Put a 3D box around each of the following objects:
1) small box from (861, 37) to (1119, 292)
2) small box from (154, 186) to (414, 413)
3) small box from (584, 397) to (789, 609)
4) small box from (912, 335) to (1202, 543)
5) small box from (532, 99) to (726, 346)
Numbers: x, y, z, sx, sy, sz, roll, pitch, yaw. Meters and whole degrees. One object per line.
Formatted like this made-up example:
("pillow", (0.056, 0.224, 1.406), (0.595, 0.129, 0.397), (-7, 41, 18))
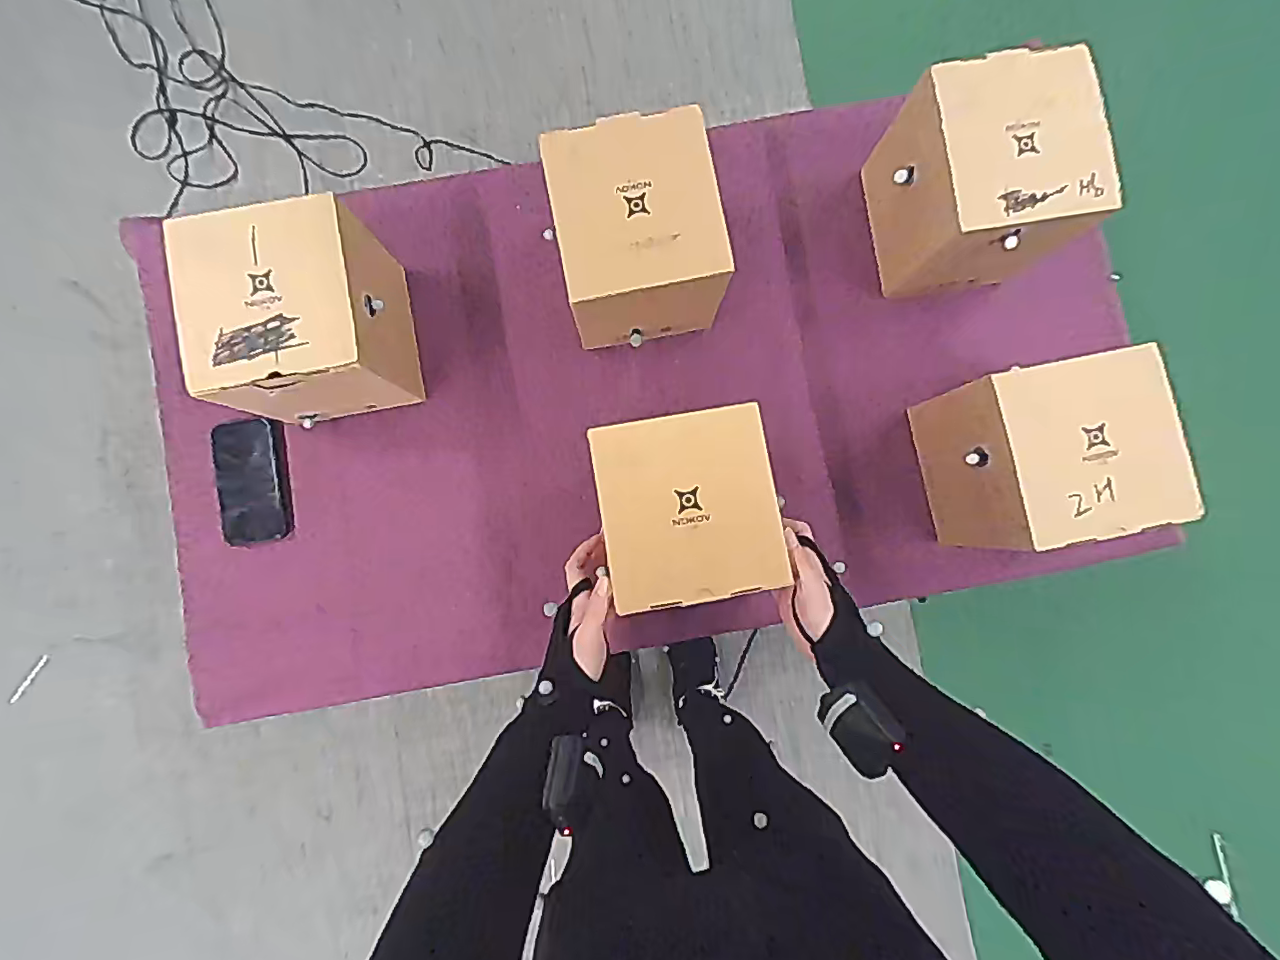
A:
("small box", (0.370, -0.338, 0.608), (0.168, 0.176, 0.179), (-9, 86, 0))
("small box", (-0.366, -0.177, 0.589), (0.168, 0.176, 0.179), (-11, 86, -2))
("small box", (0.038, 0.030, 0.571), (0.168, 0.176, 0.179), (-10, 83, -2))
("small box", (0.423, -0.033, 0.583), (0.168, 0.176, 0.179), (-11, 86, 0))
("small box", (-0.012, -0.270, 0.601), (0.168, 0.176, 0.179), (-11, 87, -1))
